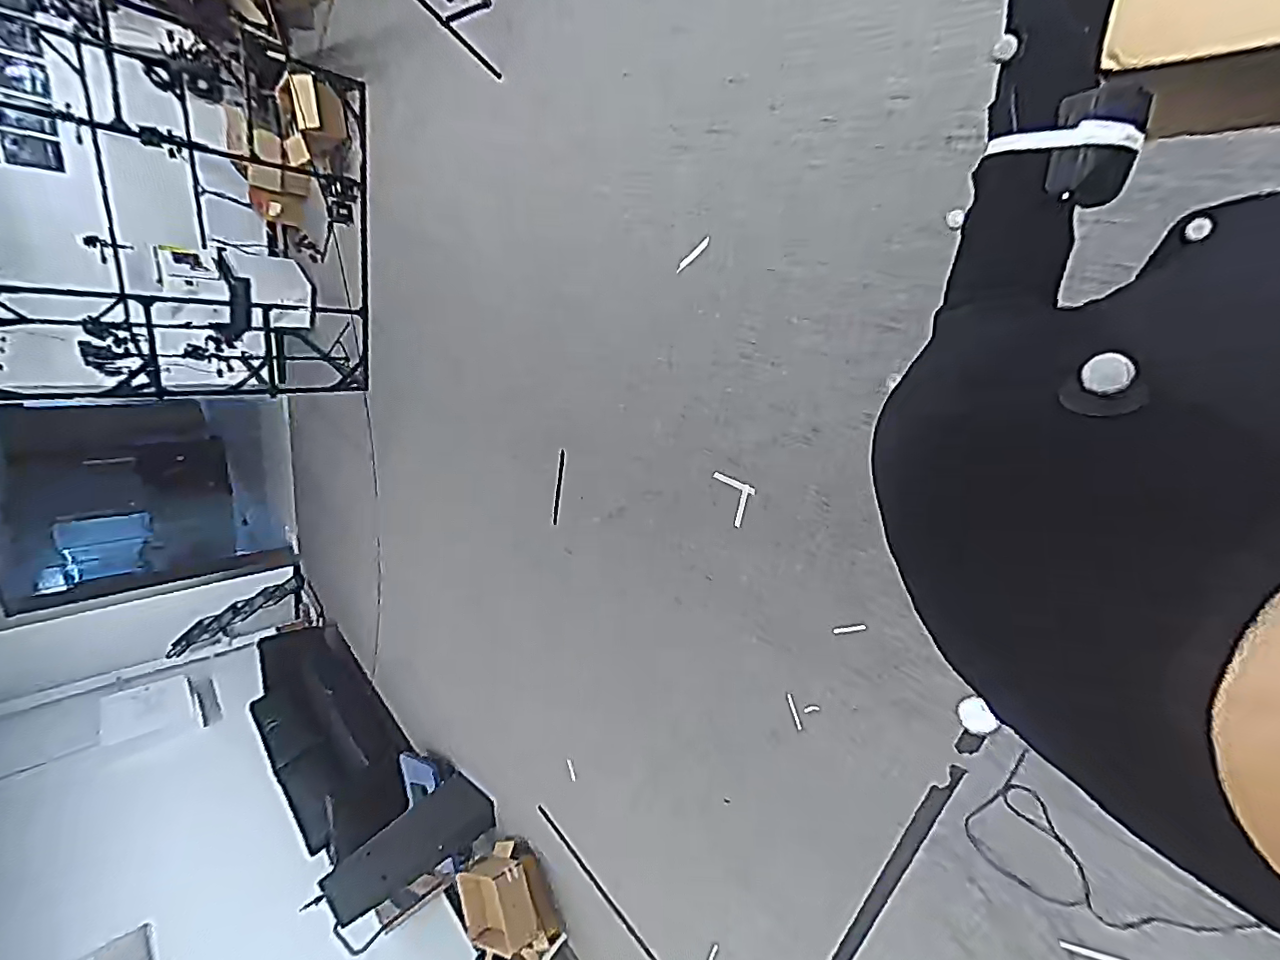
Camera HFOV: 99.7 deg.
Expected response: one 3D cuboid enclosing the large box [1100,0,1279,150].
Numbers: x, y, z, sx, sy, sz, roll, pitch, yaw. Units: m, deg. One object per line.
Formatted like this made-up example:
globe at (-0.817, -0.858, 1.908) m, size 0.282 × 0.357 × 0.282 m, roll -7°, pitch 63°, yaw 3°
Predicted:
large box at (0.554, -0.405, 0.297) m, size 0.408 × 0.320 × 0.320 m, roll 18°, pitch 119°, yaw 38°
